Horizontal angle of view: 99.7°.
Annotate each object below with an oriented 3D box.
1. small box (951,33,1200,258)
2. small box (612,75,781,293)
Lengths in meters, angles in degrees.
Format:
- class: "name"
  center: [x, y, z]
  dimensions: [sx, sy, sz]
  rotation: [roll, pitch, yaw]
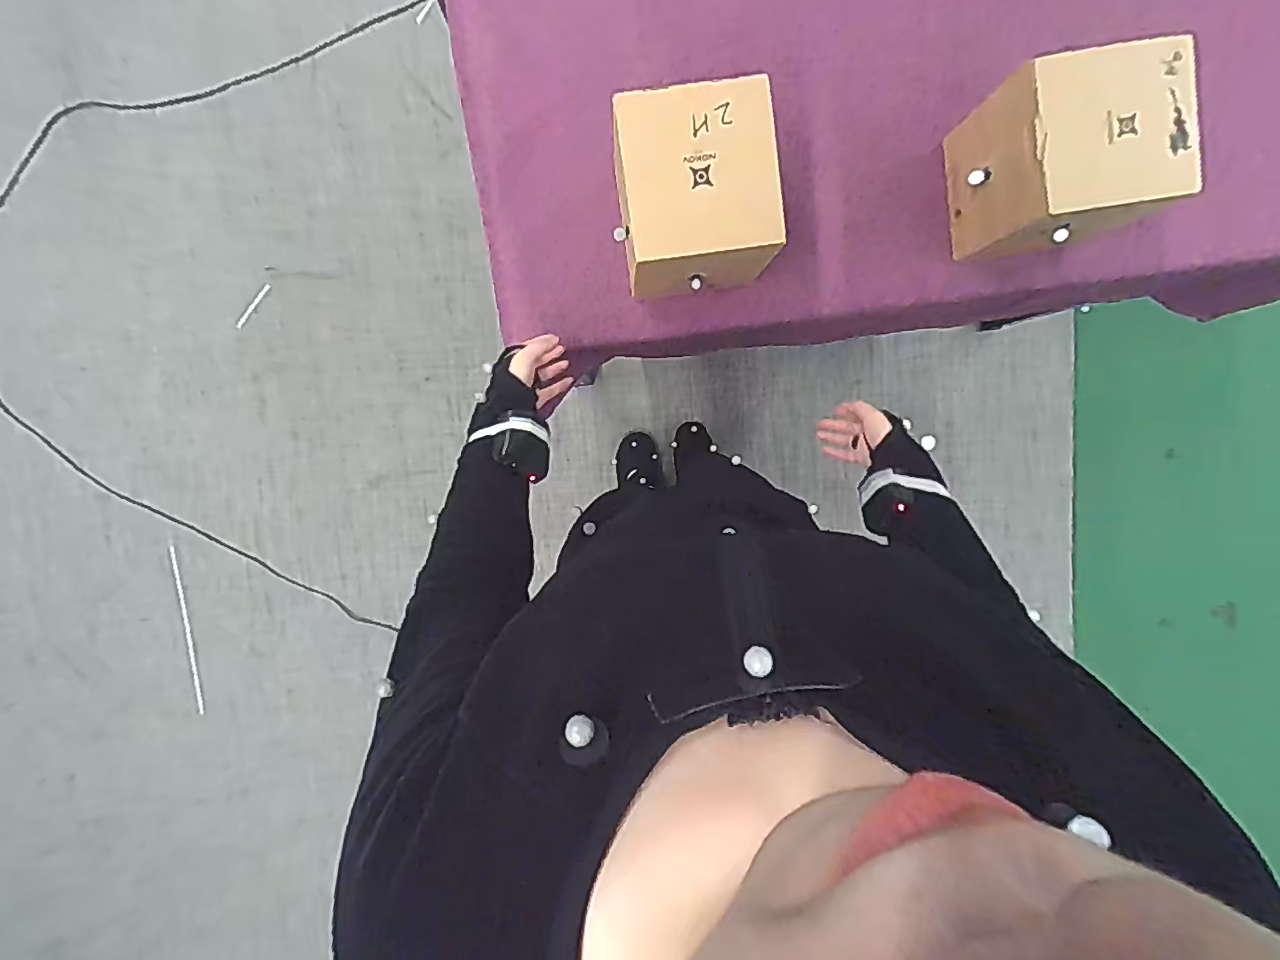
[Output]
- class: "small box"
  center: [0.505, -0.385, 0.656]
  dimensions: [0.179, 0.176, 0.168]
  rotation: [-8, 95, 0]
- class: "small box"
  center: [0.060, -0.335, 0.651]
  dimensions: [0.168, 0.176, 0.179]
  rotation: [-7, 95, -1]
